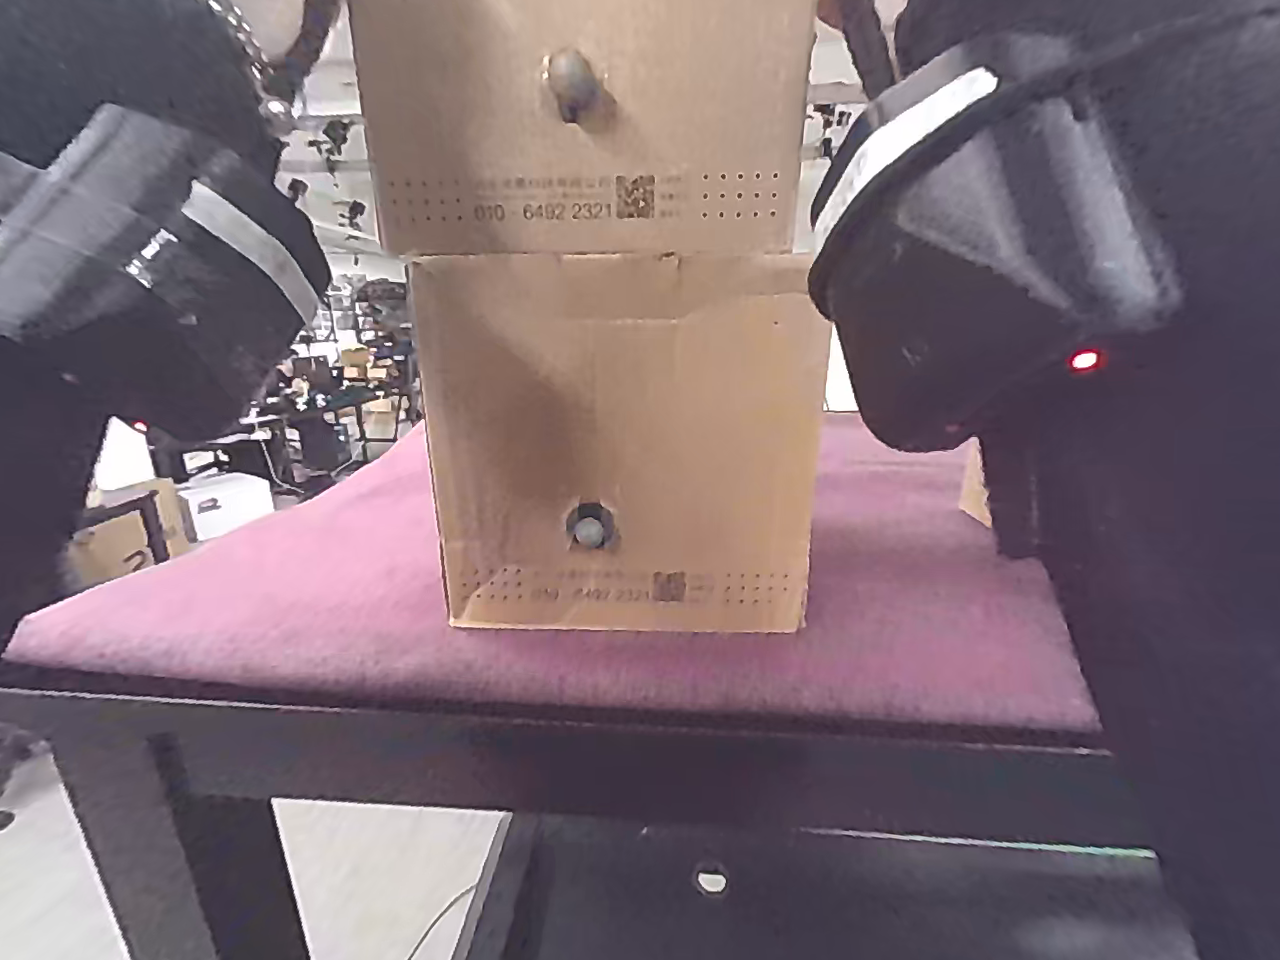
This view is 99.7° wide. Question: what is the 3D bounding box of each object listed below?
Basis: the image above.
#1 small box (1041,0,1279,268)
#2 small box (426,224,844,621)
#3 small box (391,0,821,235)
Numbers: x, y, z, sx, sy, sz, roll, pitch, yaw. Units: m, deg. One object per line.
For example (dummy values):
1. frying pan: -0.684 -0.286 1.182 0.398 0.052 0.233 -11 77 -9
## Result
1. small box: 0.330 -0.193 0.251 0.168 0.176 0.179 2 17 8
2. small box: -0.003 -0.041 0.310 0.168 0.176 0.179 1 19 1
3. small box: -0.011 -0.201 0.270 0.168 0.176 0.179 1 18 4
